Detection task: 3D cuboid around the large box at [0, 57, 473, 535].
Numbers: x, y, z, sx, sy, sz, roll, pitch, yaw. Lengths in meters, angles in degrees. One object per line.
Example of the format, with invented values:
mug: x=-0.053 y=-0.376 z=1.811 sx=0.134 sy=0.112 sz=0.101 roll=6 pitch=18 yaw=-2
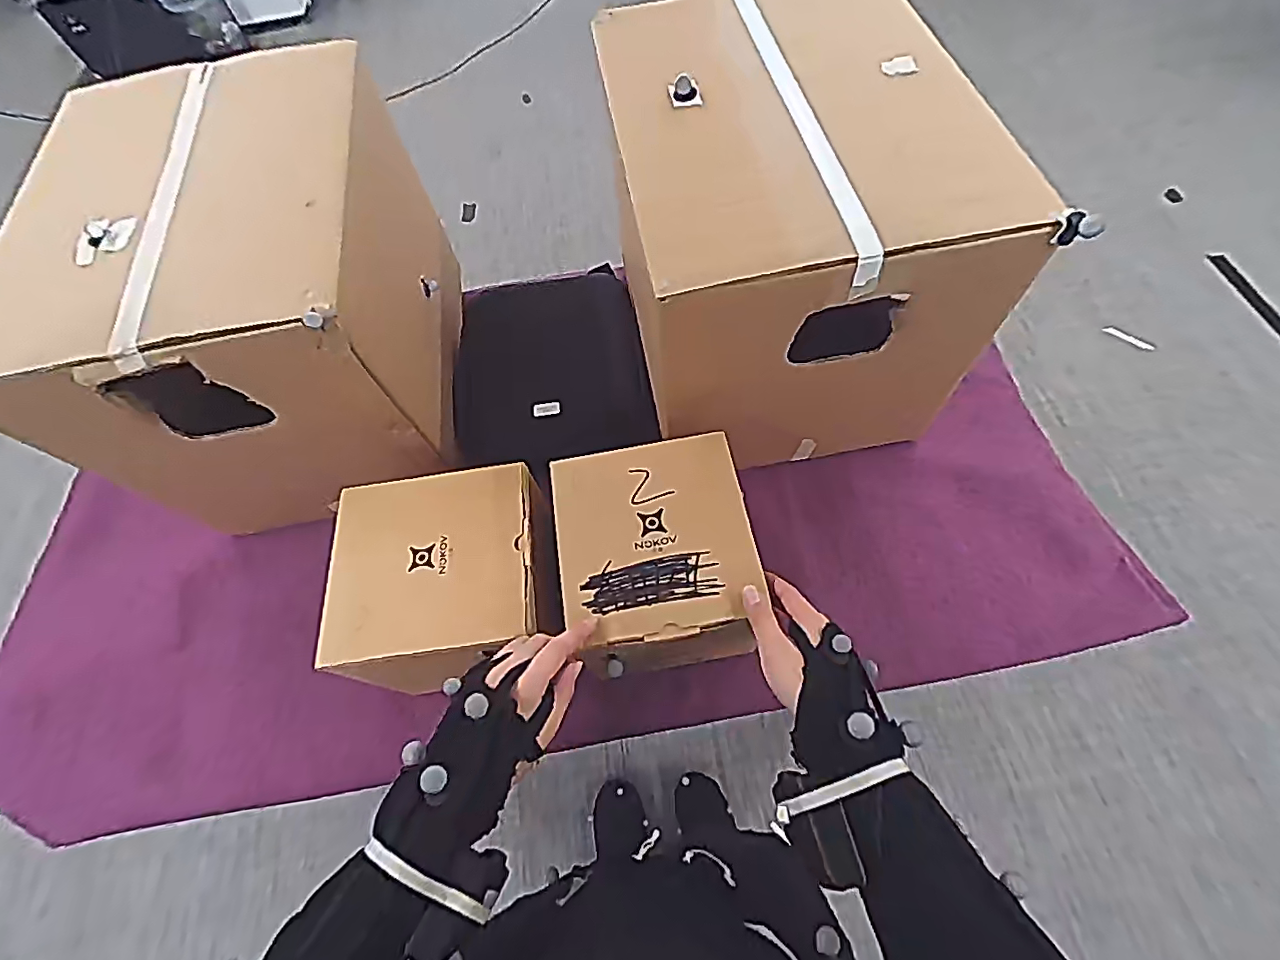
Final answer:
large box: x=-0.407 y=-0.195 z=0.636 sx=0.320 sy=0.320 sz=0.408 roll=-12 pitch=65 yaw=-1
